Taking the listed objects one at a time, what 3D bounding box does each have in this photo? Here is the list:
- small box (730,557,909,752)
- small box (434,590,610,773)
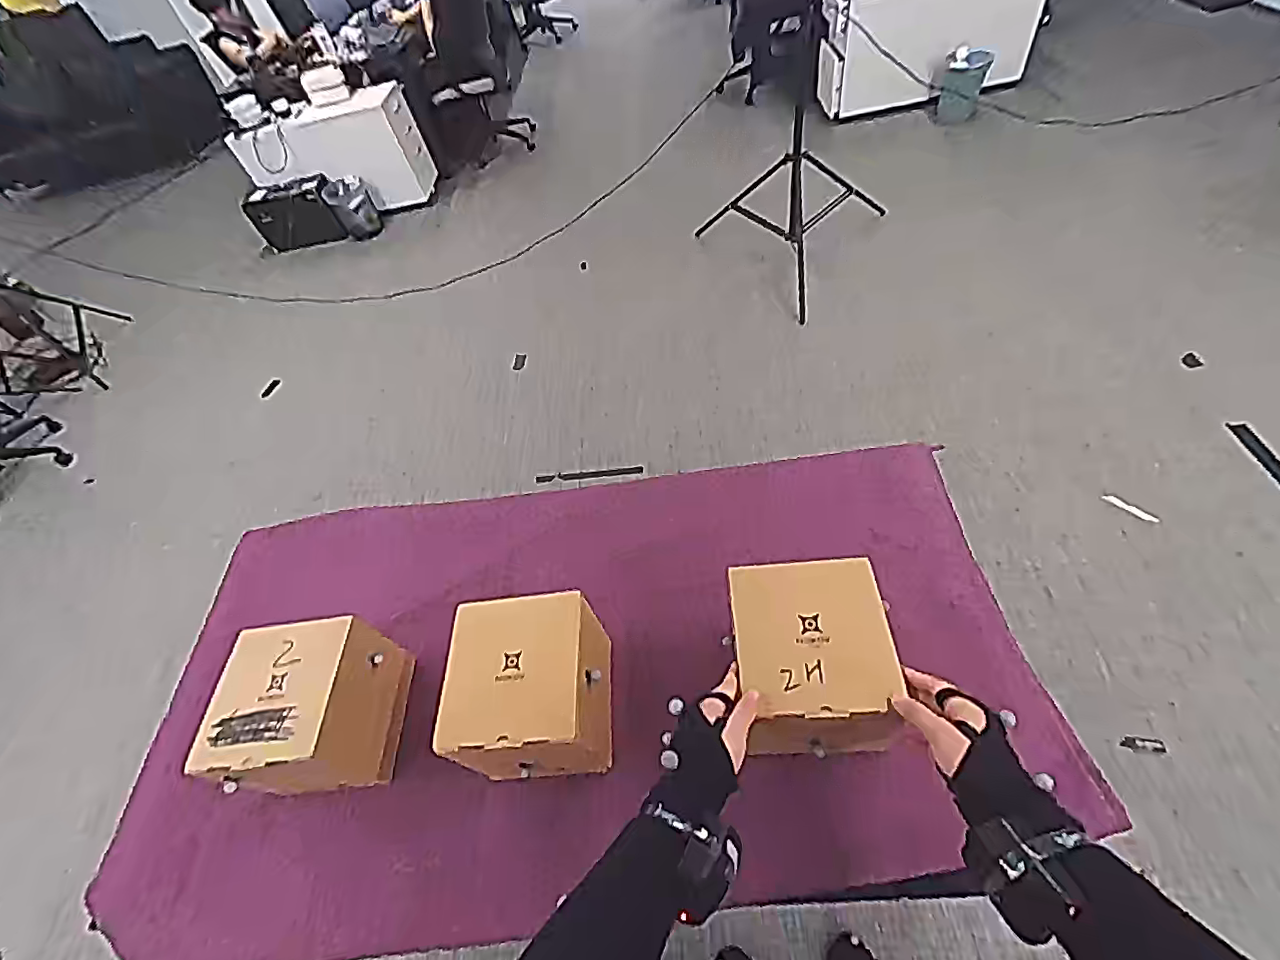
[{"bbox_3d":[0.198,0.213,0.652,0.168,0.176,0.179,-6,51,8],"label":"small box"},{"bbox_3d":[-0.136,0.263,0.699,0.168,0.176,0.179,-8,52,7],"label":"small box"}]
